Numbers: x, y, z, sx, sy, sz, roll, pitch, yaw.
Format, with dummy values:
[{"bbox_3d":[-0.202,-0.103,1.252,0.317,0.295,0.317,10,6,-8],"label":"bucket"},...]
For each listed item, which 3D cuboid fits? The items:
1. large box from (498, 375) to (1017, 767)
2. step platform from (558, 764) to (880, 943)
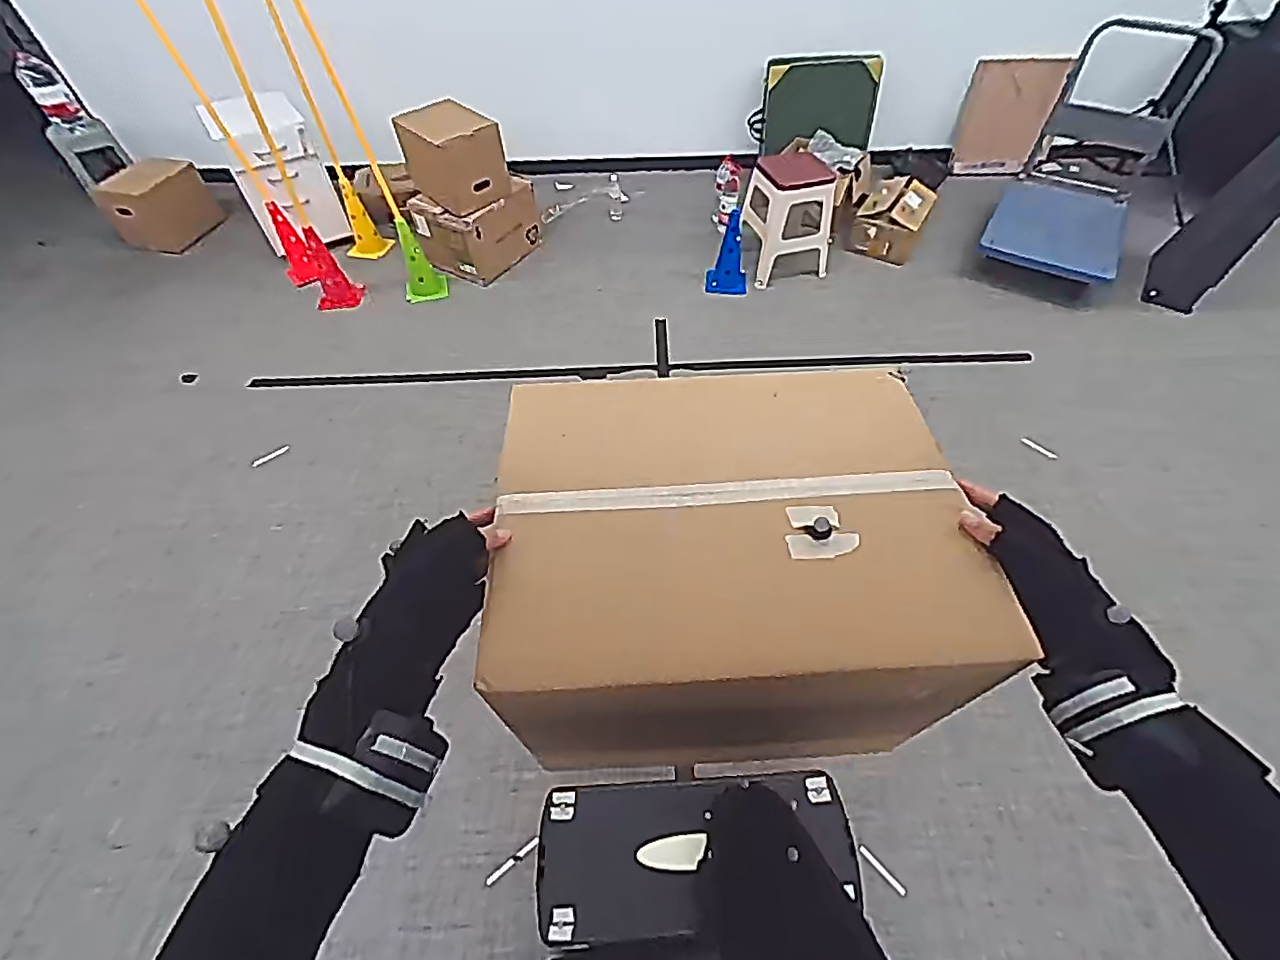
[{"bbox_3d":[0.080,0.109,0.608,0.408,0.320,0.320,-3,53,-2],"label":"large box"},{"bbox_3d":[0.160,0.824,1.210,0.684,0.204,0.286,-3,52,-2],"label":"step platform"}]
